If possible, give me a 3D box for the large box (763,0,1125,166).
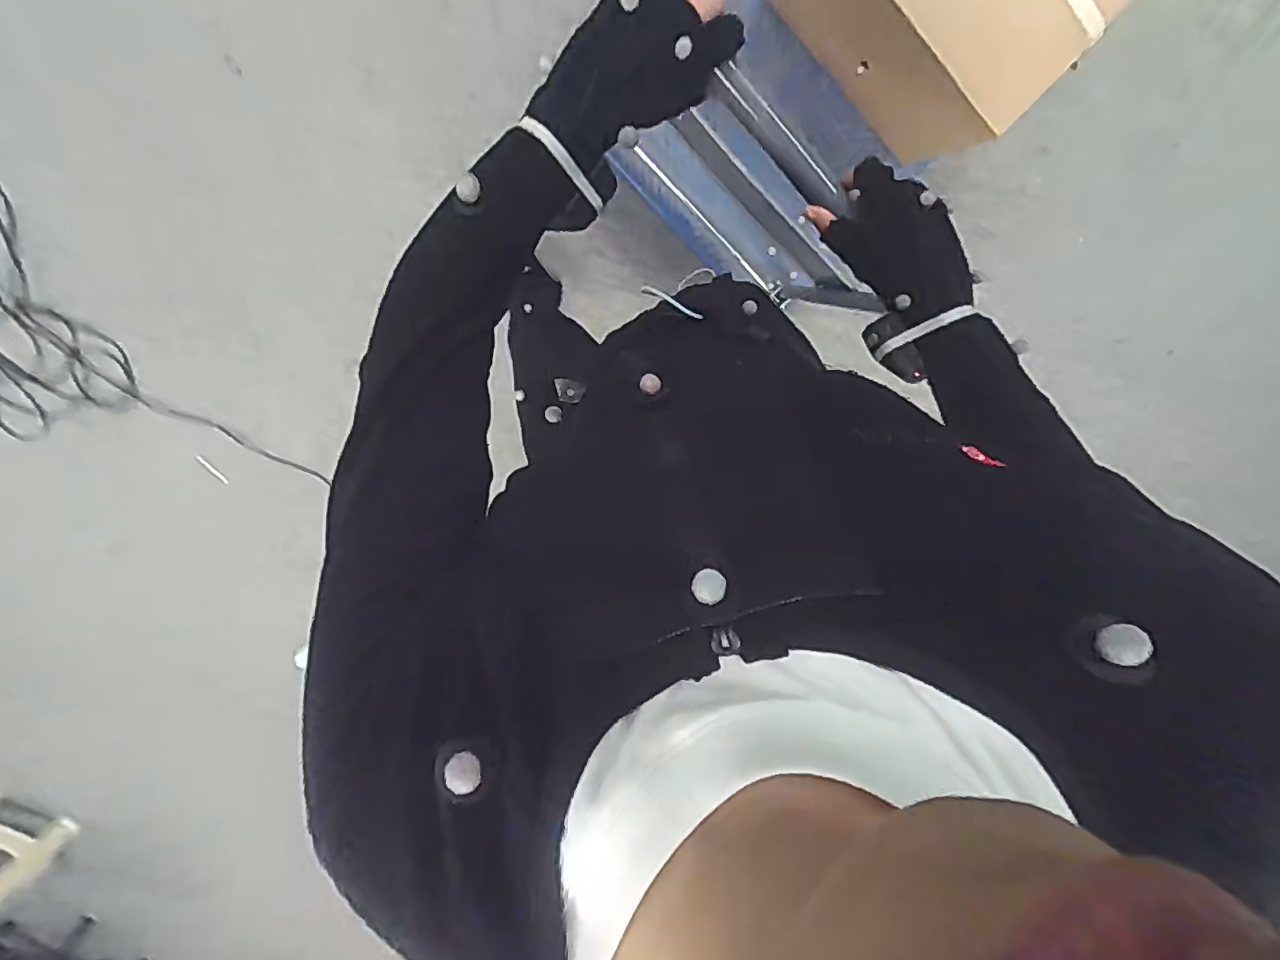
[{"bbox_3d":[0.460,-0.773,0.831,0.408,0.320,0.320,39,107,-14],"label":"large box"}]
